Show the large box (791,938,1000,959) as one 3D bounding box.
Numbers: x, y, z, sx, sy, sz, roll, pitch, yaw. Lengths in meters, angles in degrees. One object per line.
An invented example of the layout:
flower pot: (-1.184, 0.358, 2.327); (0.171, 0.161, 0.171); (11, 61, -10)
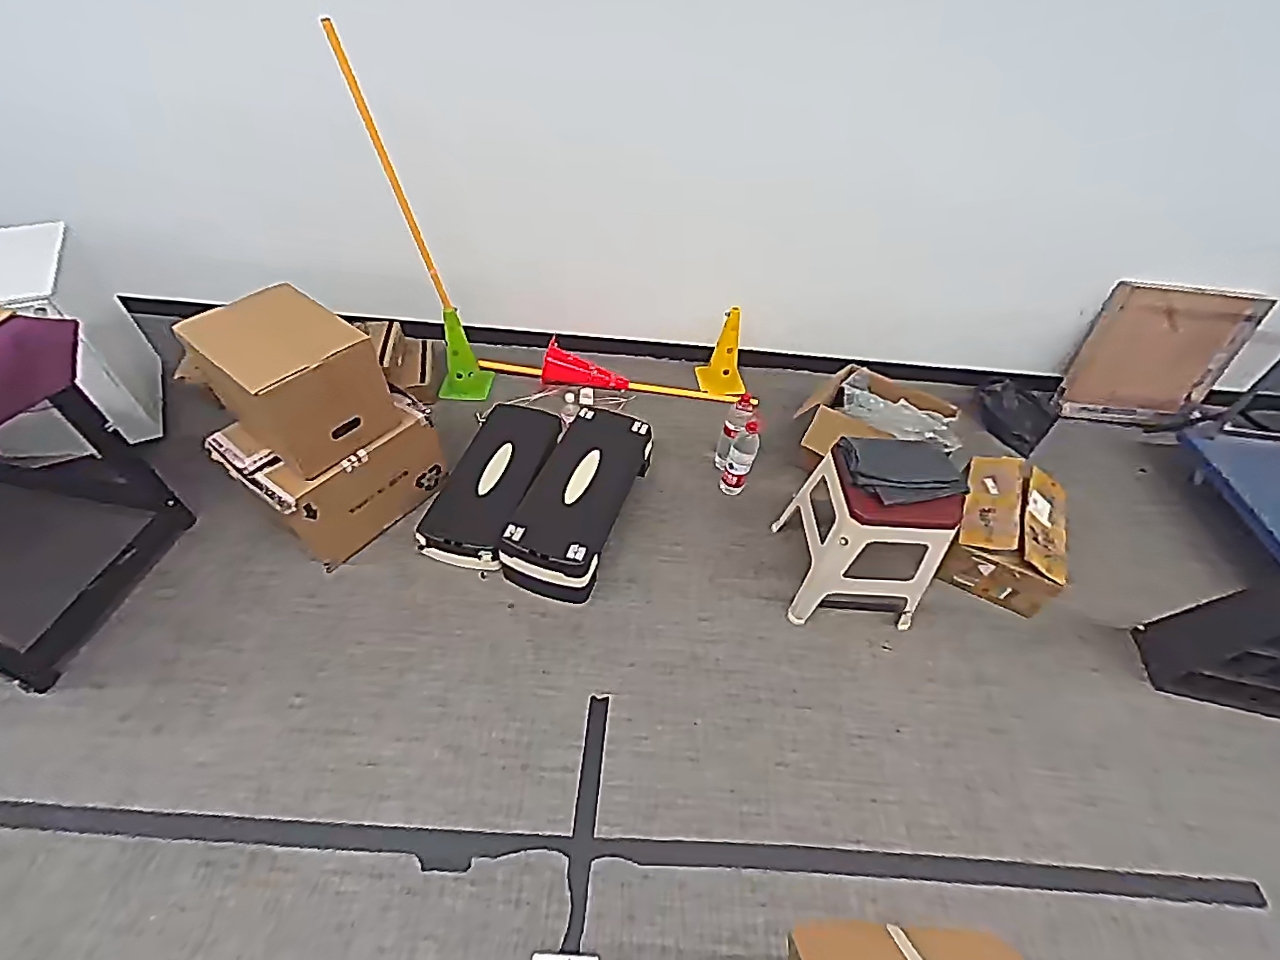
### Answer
large box: (0.369, 0.814, 0.589); (0.320, 0.408, 0.320); (3, 82, 0)
